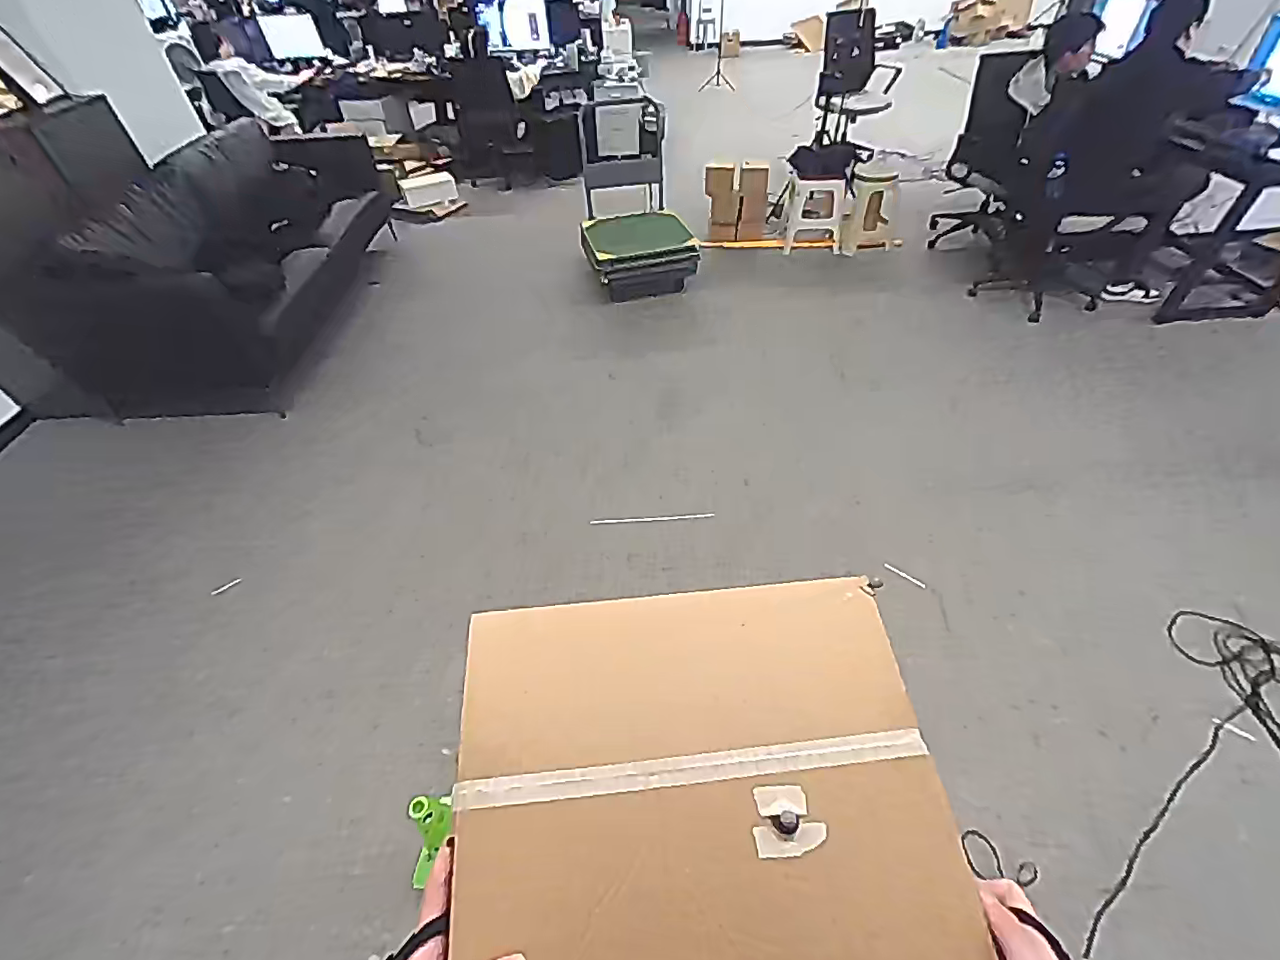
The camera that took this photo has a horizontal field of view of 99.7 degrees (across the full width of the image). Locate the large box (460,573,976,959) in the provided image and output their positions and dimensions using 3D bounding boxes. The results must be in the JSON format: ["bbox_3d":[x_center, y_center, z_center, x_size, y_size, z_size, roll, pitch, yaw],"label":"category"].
[{"bbox_3d":[0.045,0.327,0.605,0.408,0.320,0.320,-5,59,-3],"label":"large box"}]

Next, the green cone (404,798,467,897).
[{"bbox_3d":[-0.457,0.804,1.236,0.200,0.368,0.202,1,47,5],"label":"green cone"}]
